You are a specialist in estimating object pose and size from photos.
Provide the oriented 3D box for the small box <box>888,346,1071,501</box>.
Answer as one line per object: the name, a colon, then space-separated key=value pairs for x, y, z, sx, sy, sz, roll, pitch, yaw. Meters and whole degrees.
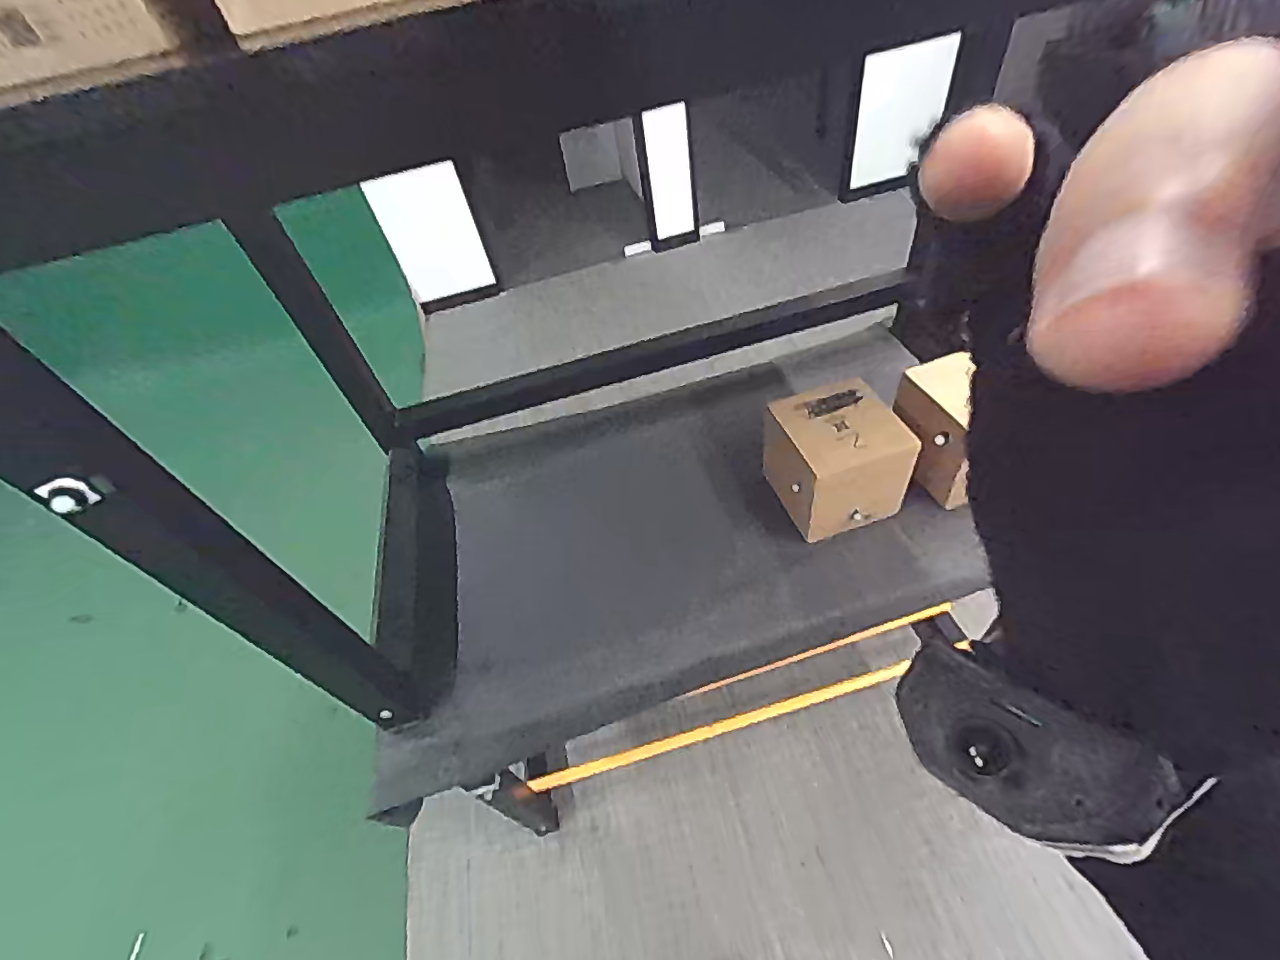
small box: x=0.540 y=-0.086 z=0.892 sx=0.168 sy=0.176 sz=0.179 roll=-18 pitch=46 yaw=-5

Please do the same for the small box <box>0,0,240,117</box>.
small box: x=-0.360 y=-0.311 z=0.287 sx=0.168 sy=0.176 sz=0.179 roll=-17 pitch=48 yaw=-4
